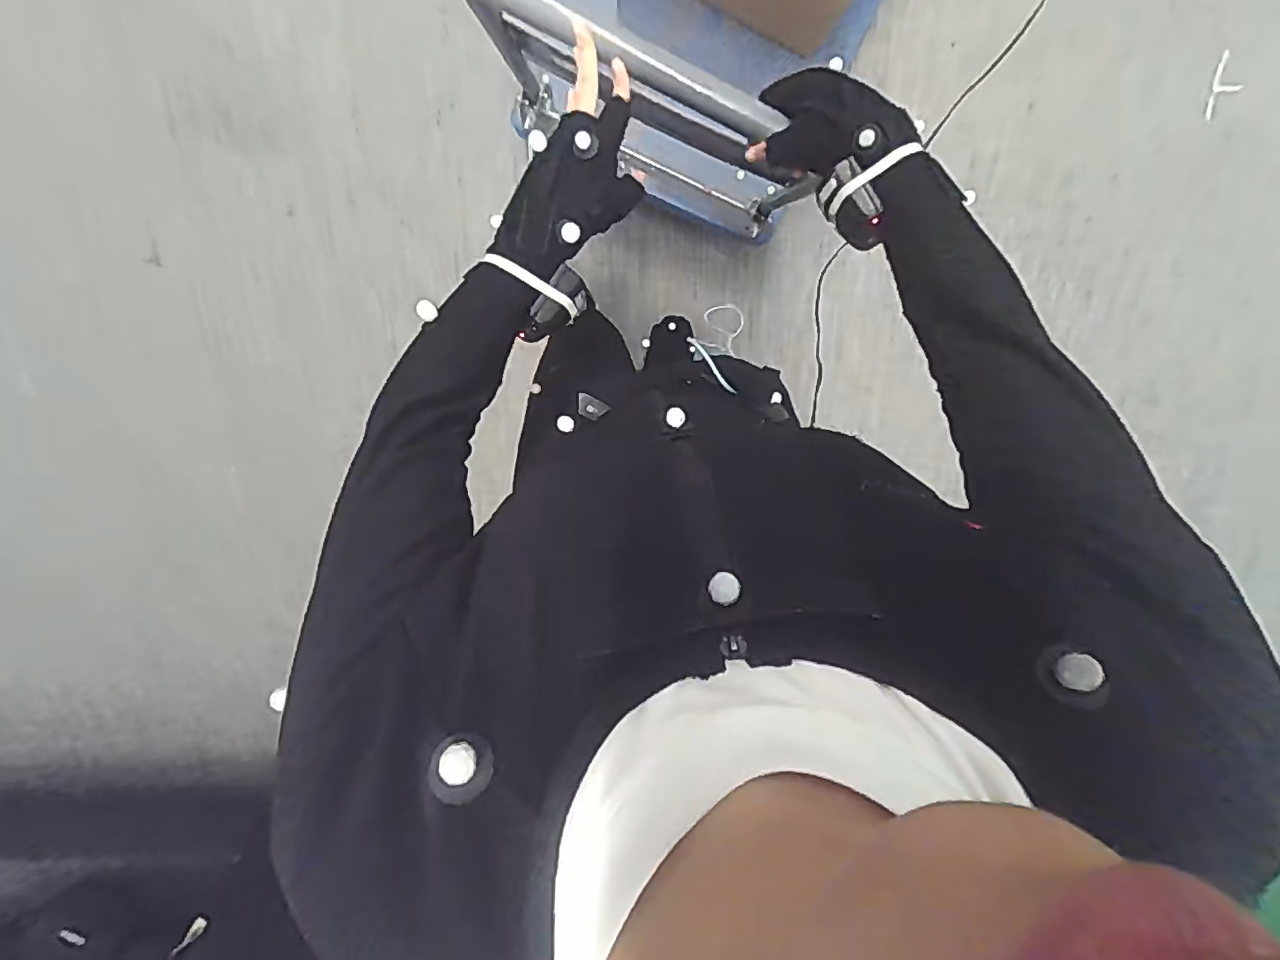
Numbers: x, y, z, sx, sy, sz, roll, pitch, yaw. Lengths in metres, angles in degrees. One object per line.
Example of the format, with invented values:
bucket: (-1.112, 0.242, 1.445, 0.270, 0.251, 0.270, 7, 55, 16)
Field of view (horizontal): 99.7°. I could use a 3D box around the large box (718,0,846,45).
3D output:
large box: (0.199, -0.971, 0.819, 0.408, 0.320, 0.320, 23, 107, -6)
